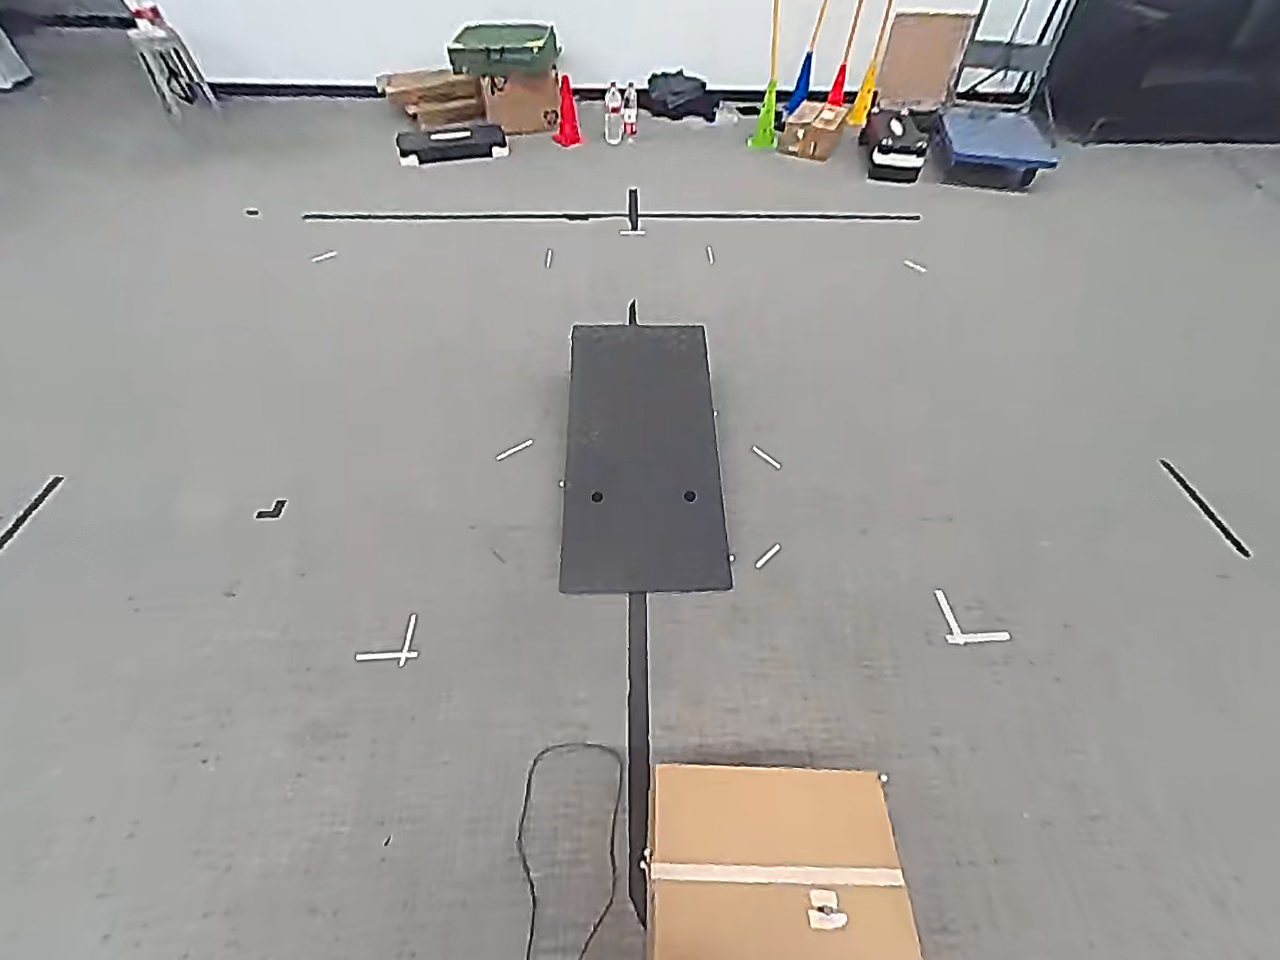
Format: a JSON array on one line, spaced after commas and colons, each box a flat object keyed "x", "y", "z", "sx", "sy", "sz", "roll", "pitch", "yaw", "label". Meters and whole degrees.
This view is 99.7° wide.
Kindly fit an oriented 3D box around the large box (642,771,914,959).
[{"x": 0.212, "y": 0.743, "z": 0.991, "sx": 0.408, "sy": 0.320, "sz": 0.320, "roll": 2, "pitch": 51, "yaw": -1, "label": "large box"}]

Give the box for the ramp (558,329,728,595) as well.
[{"x": -0.003, "y": -0.114, "z": 1.767, "sx": 0.509, "sy": 0.206, "sz": 0.991, "roll": -1, "pitch": 51, "yaw": -4, "label": "ramp"}]
